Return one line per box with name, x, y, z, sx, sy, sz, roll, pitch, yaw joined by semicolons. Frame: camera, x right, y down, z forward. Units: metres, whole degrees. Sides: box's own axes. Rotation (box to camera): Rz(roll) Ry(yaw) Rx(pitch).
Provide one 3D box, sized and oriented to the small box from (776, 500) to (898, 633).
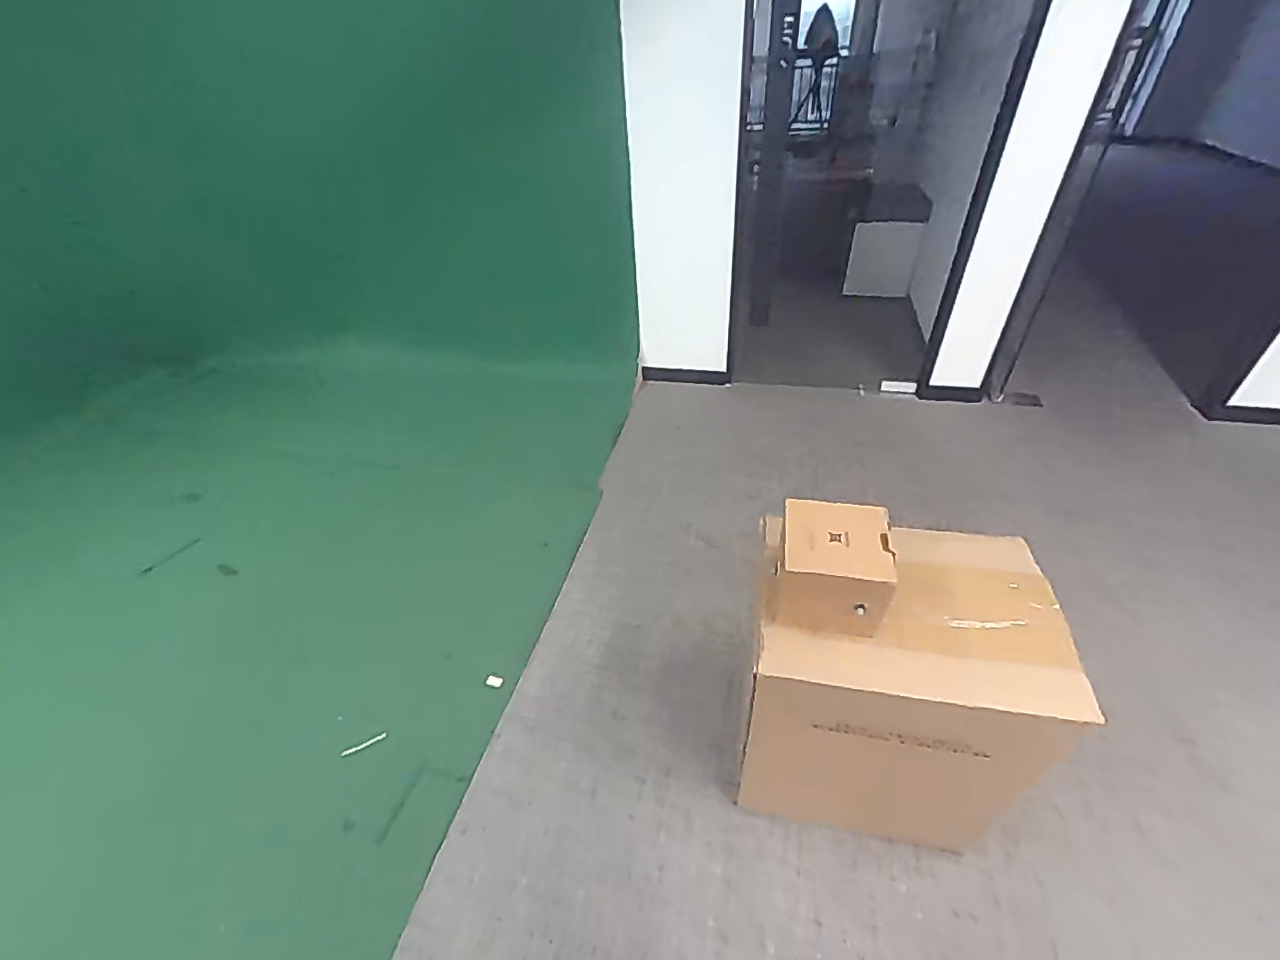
small box;0.343;0.157;0.973;0.179;0.176;0.168;3;44;12
